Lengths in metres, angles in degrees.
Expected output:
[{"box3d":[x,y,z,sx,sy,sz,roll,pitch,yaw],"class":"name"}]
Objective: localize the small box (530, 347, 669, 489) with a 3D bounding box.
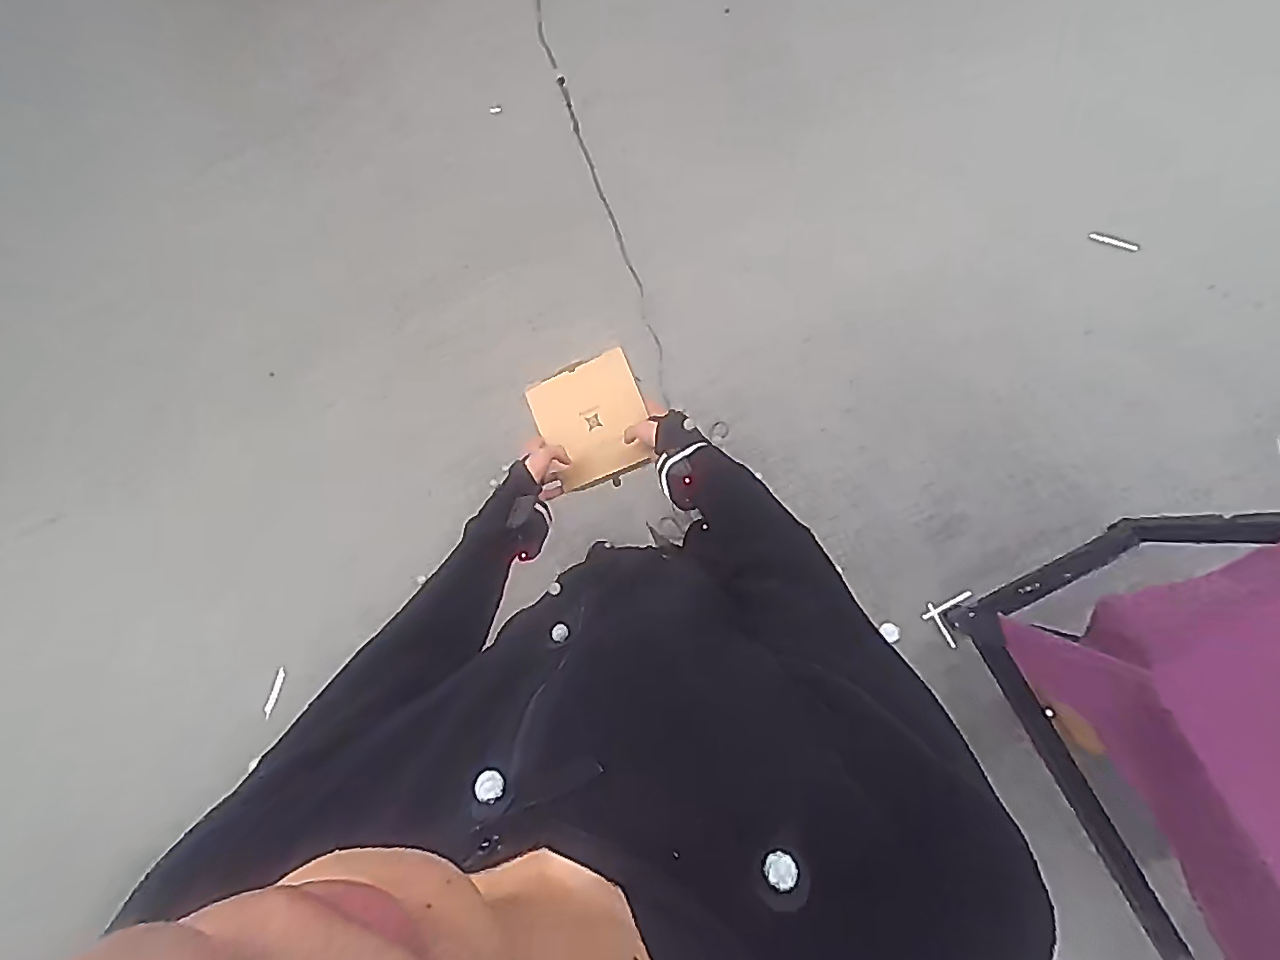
[{"box3d":[-0.058,-0.093,0.895,0.168,0.176,0.179,-22,88,6],"class":"small box"}]
